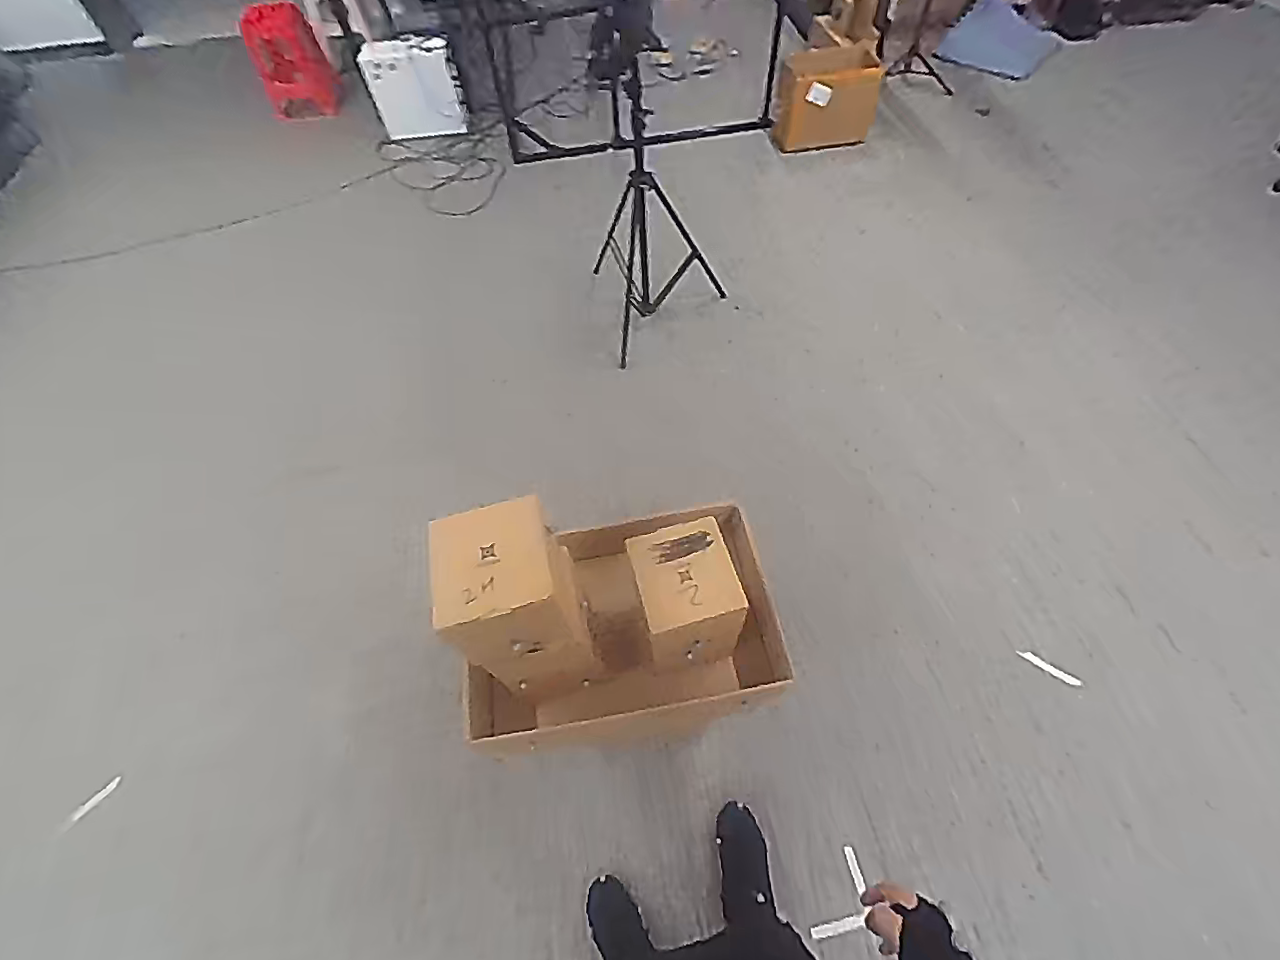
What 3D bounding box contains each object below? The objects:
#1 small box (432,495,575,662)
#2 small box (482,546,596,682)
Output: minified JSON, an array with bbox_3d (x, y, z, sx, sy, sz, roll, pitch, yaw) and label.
[{"bbox_3d":[-0.205,0.154,0.828,0.168,0.176,0.179,-15,57,-4],"label":"small box"},{"bbox_3d":[-0.180,0.246,0.964,0.168,0.176,0.179,-13,56,-4],"label":"small box"}]
